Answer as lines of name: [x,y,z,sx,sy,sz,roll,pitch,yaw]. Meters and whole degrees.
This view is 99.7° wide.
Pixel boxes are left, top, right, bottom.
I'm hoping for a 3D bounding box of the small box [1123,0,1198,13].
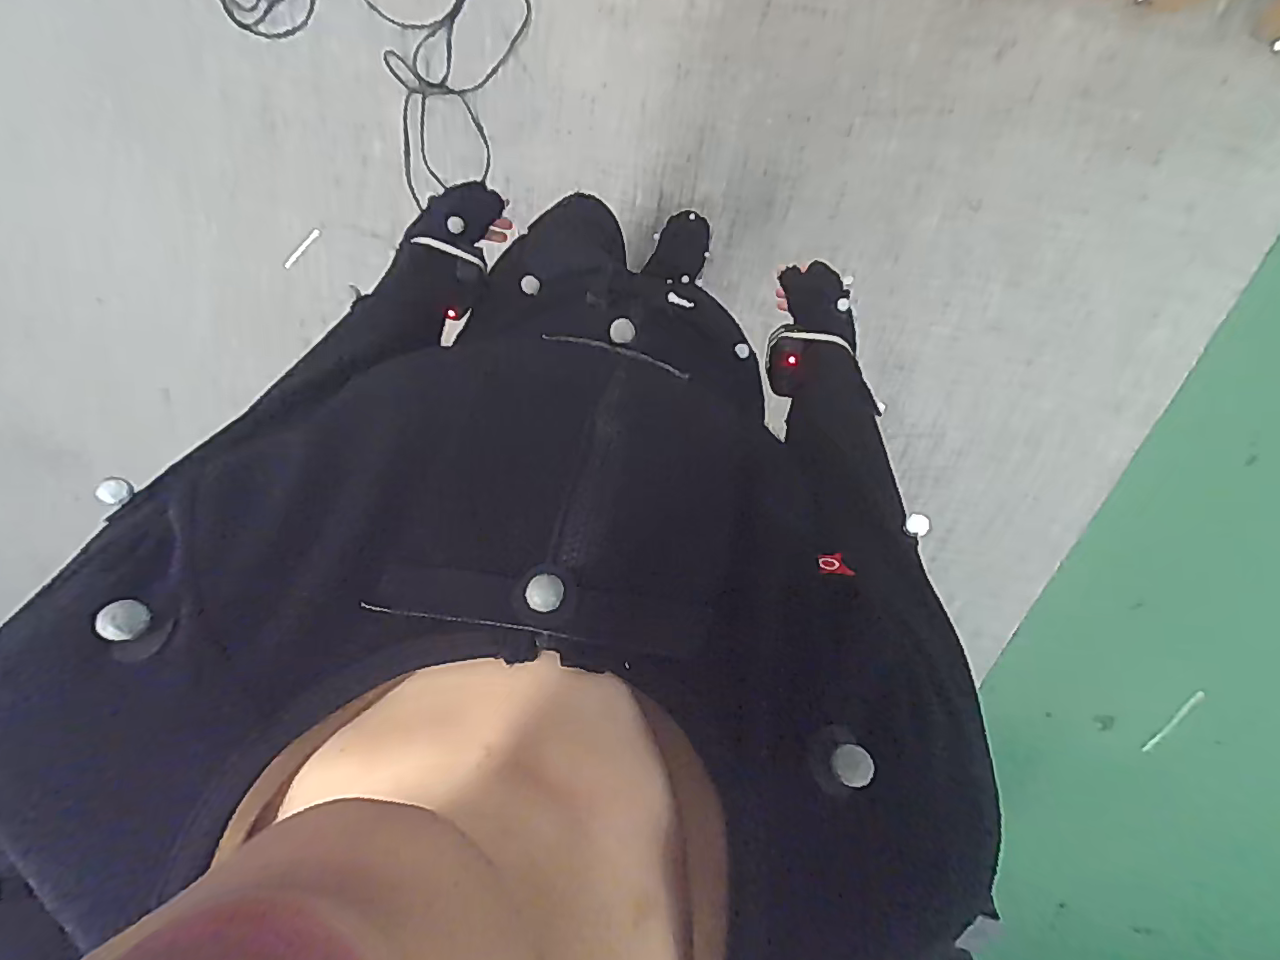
small box: [0.936,-0.941,0.911,0.168,0.176,0.179,16,119,-3]
